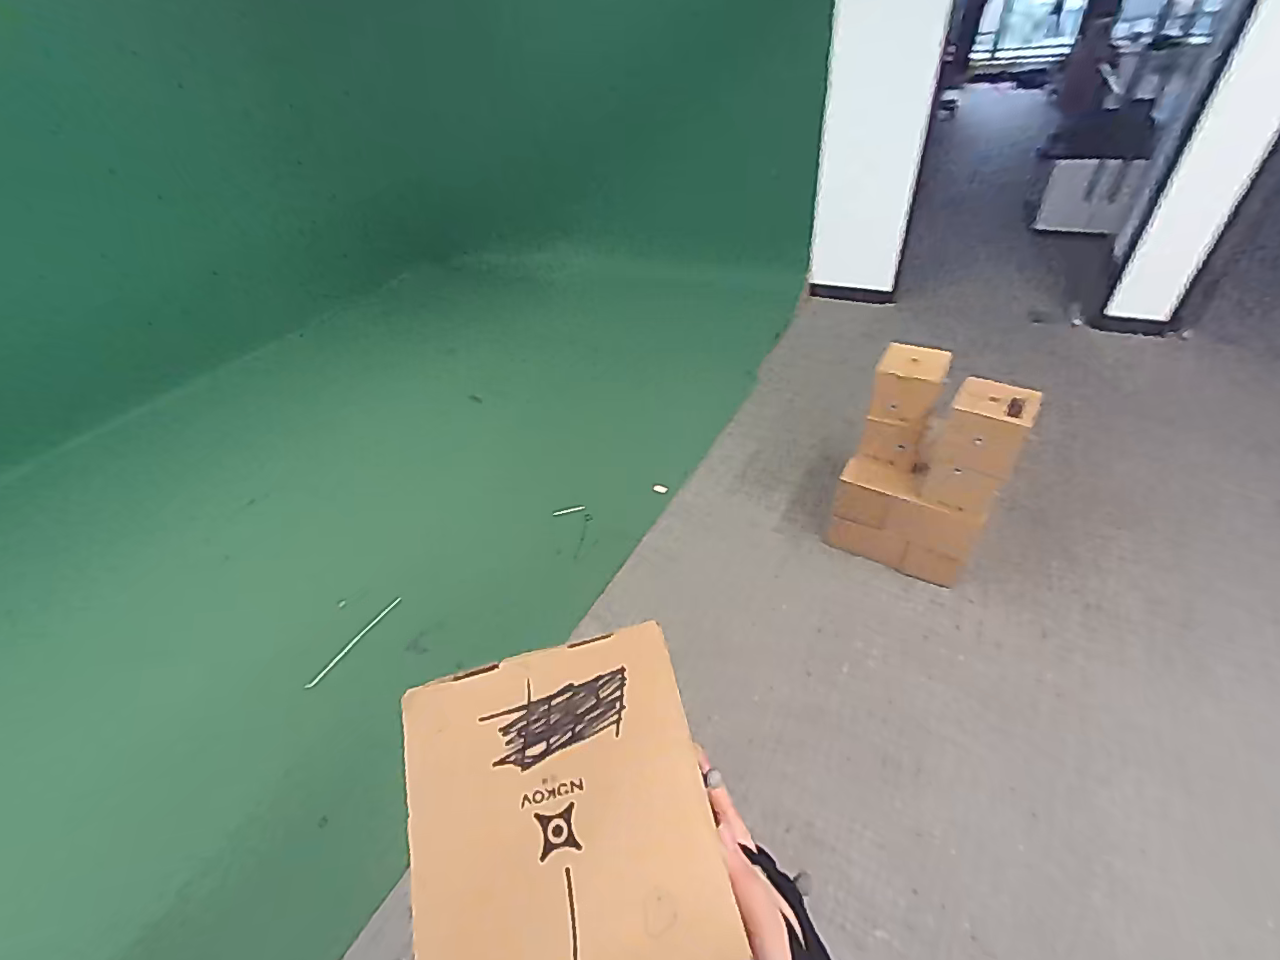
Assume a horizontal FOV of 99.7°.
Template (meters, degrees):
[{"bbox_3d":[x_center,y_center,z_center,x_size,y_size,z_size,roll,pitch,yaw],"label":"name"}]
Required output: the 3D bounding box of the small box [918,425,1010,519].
[{"bbox_3d":[0.907,-0.024,1.523,0.168,0.176,0.179,22,48,29],"label":"small box"}]

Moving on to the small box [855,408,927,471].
[{"bbox_3d":[0.786,-0.153,1.692,0.168,0.176,0.179,20,47,28],"label":"small box"}]

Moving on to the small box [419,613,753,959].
[{"bbox_3d":[-0.036,0.214,0.373,0.168,0.176,0.179,-14,63,-2],"label":"small box"}]

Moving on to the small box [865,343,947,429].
[{"bbox_3d":[0.775,-0.276,1.585,0.168,0.176,0.179,19,48,28],"label":"small box"}]
